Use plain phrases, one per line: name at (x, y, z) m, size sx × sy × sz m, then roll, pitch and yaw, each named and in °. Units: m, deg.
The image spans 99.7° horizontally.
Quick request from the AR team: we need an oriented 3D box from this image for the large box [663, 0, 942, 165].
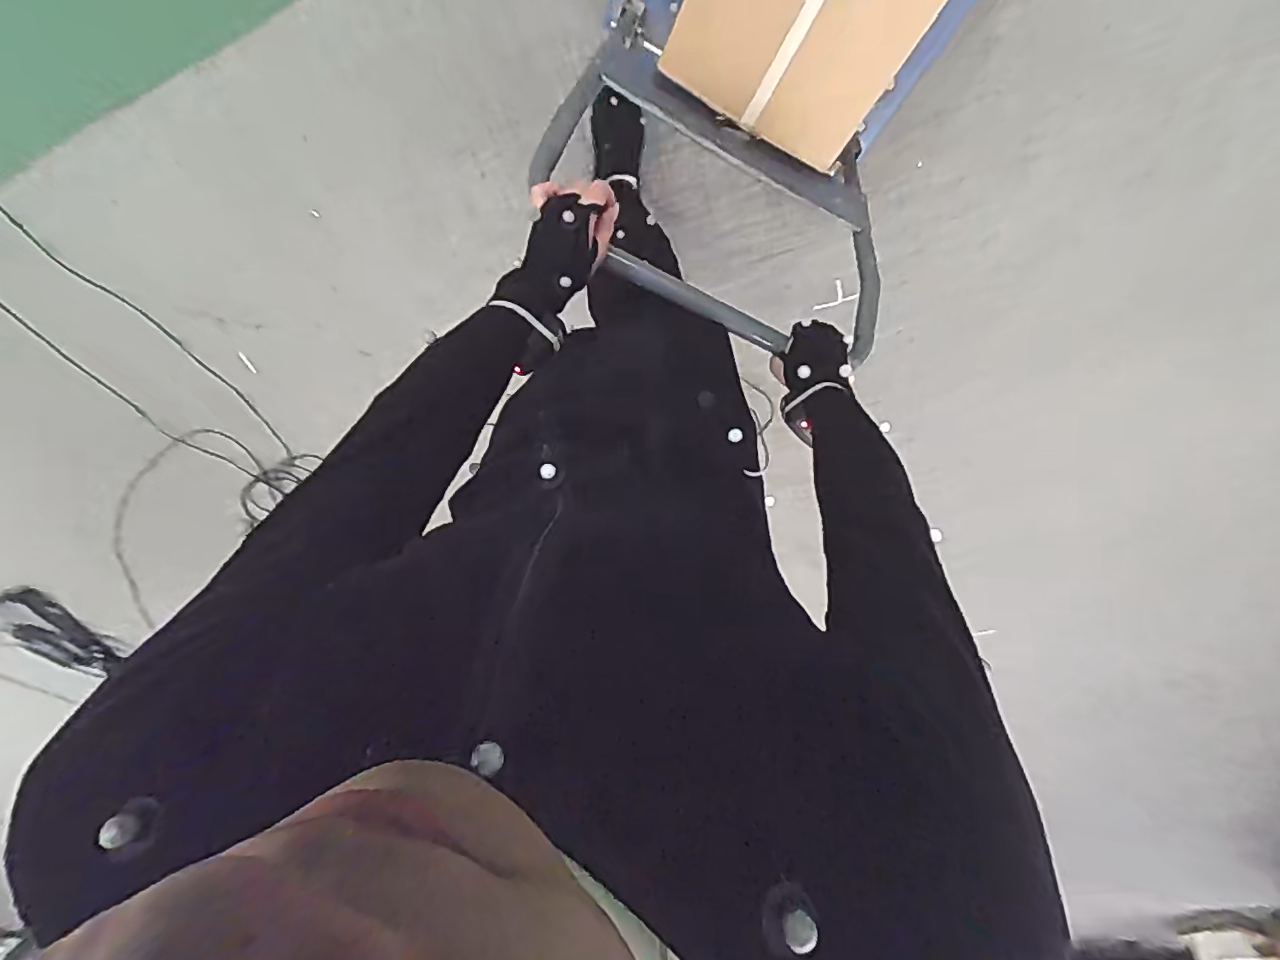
large box at (0.271, -0.782, 0.796) m, size 0.320 × 0.320 × 0.408 m, roll 23°, pitch 137°, yaw -14°
